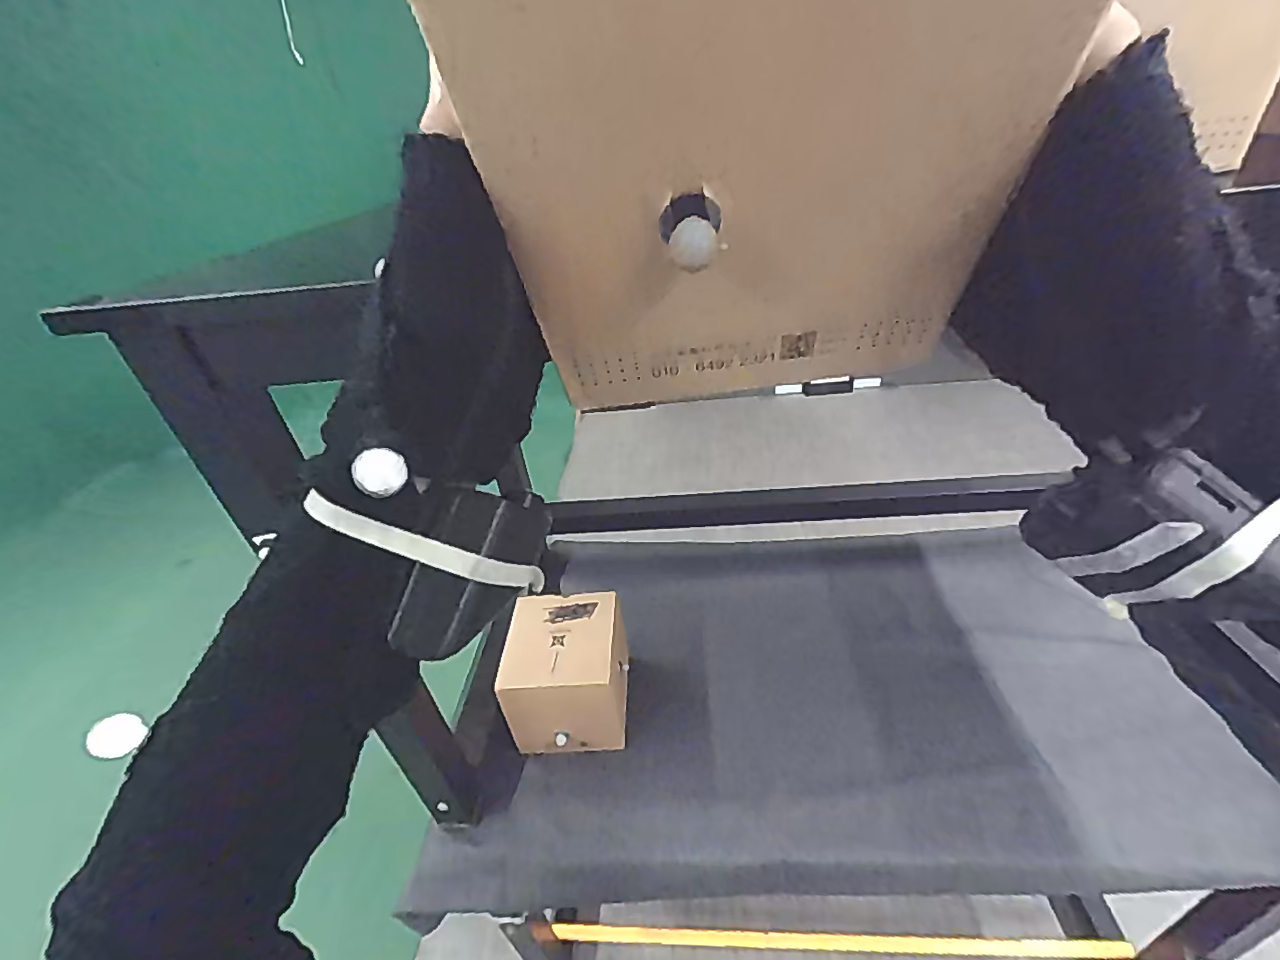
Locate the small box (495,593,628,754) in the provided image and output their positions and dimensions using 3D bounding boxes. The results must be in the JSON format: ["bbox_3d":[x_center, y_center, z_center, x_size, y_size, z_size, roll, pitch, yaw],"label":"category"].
[{"bbox_3d":[-0.111,0.303,0.855,0.168,0.176,0.179,-5,34,4],"label":"small box"}]

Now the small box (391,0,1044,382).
[{"bbox_3d":[0.028,-0.156,0.222,0.168,0.176,0.179,-7,61,5],"label":"small box"}]

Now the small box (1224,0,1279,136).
[{"bbox_3d":[0.516,-0.304,0.307,0.168,0.176,0.179,1,34,14],"label":"small box"}]
